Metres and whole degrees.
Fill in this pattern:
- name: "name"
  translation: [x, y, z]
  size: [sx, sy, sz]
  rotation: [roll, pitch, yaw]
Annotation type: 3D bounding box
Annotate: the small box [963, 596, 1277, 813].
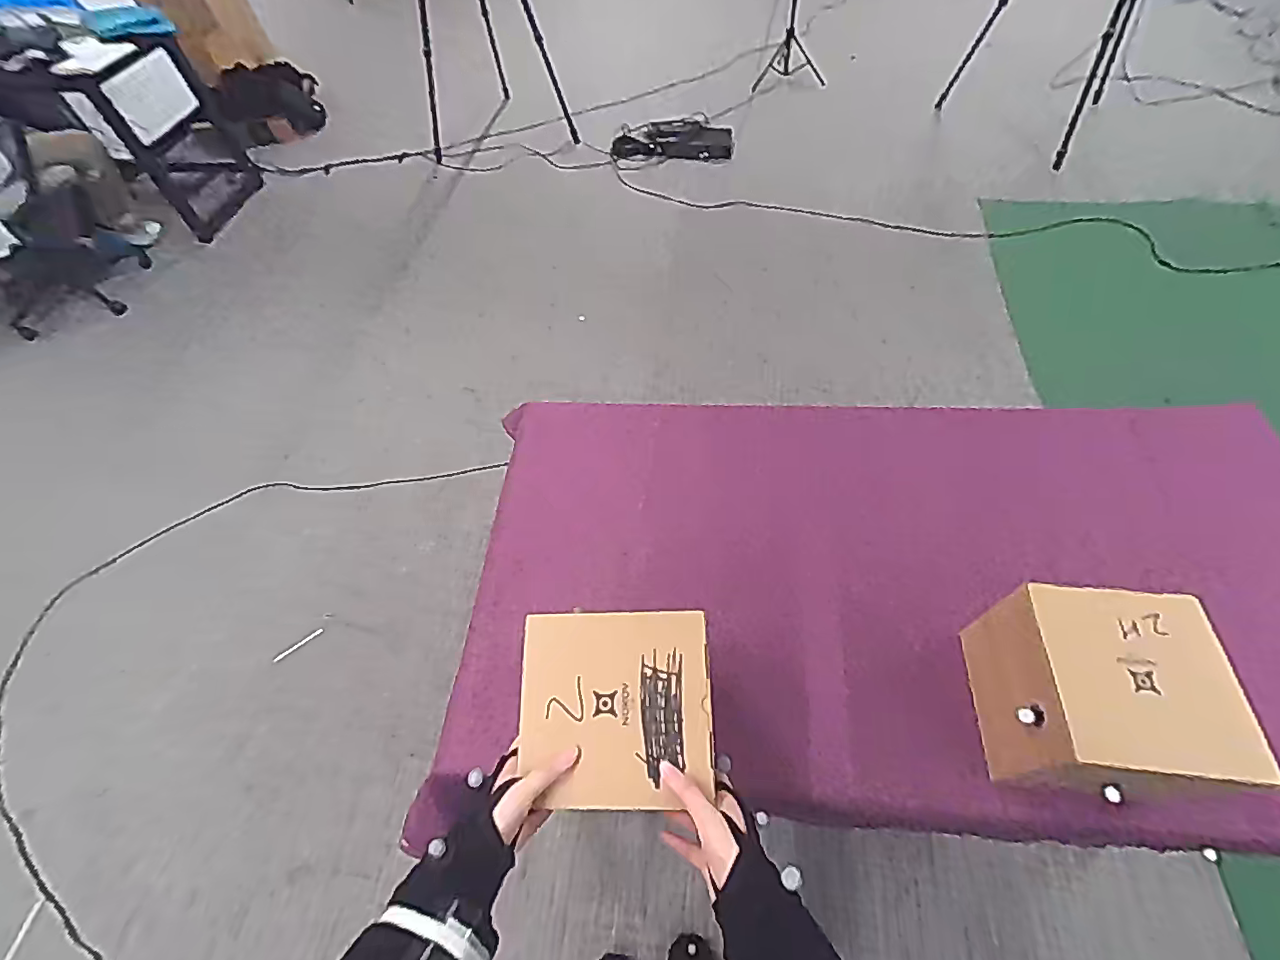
- name: "small box"
  translation: [0.482, 0.246, 0.584]
  size: [0.168, 0.176, 0.179]
  rotation: [5, 55, 7]
